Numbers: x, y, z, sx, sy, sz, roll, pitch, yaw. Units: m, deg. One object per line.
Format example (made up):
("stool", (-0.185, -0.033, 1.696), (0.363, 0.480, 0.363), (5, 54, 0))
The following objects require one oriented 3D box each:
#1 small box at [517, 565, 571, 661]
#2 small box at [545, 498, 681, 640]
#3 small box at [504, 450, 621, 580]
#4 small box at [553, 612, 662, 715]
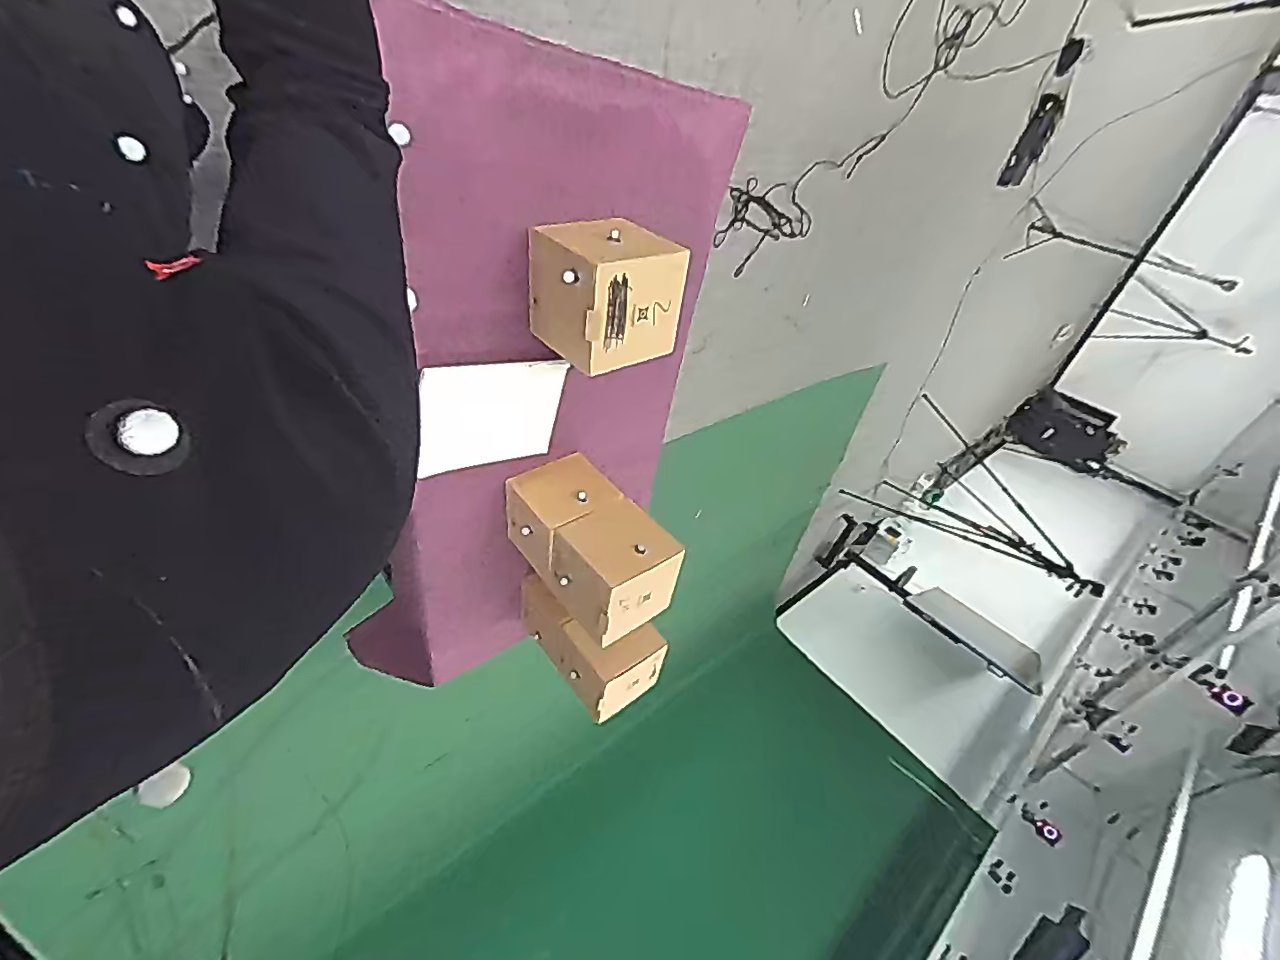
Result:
("small box", (-0.185, 0.298, 1.321), (0.179, 0.176, 0.168), (-21, 139, -36))
("small box", (-0.055, 0.158, 1.019), (0.179, 0.176, 0.168), (-21, 139, -36))
("small box", (-0.165, 0.065, 1.101), (0.179, 0.176, 0.168), (-24, 141, -34))
("small box", (-0.081, 0.386, 1.230), (0.179, 0.176, 0.168), (-21, 140, -35))
